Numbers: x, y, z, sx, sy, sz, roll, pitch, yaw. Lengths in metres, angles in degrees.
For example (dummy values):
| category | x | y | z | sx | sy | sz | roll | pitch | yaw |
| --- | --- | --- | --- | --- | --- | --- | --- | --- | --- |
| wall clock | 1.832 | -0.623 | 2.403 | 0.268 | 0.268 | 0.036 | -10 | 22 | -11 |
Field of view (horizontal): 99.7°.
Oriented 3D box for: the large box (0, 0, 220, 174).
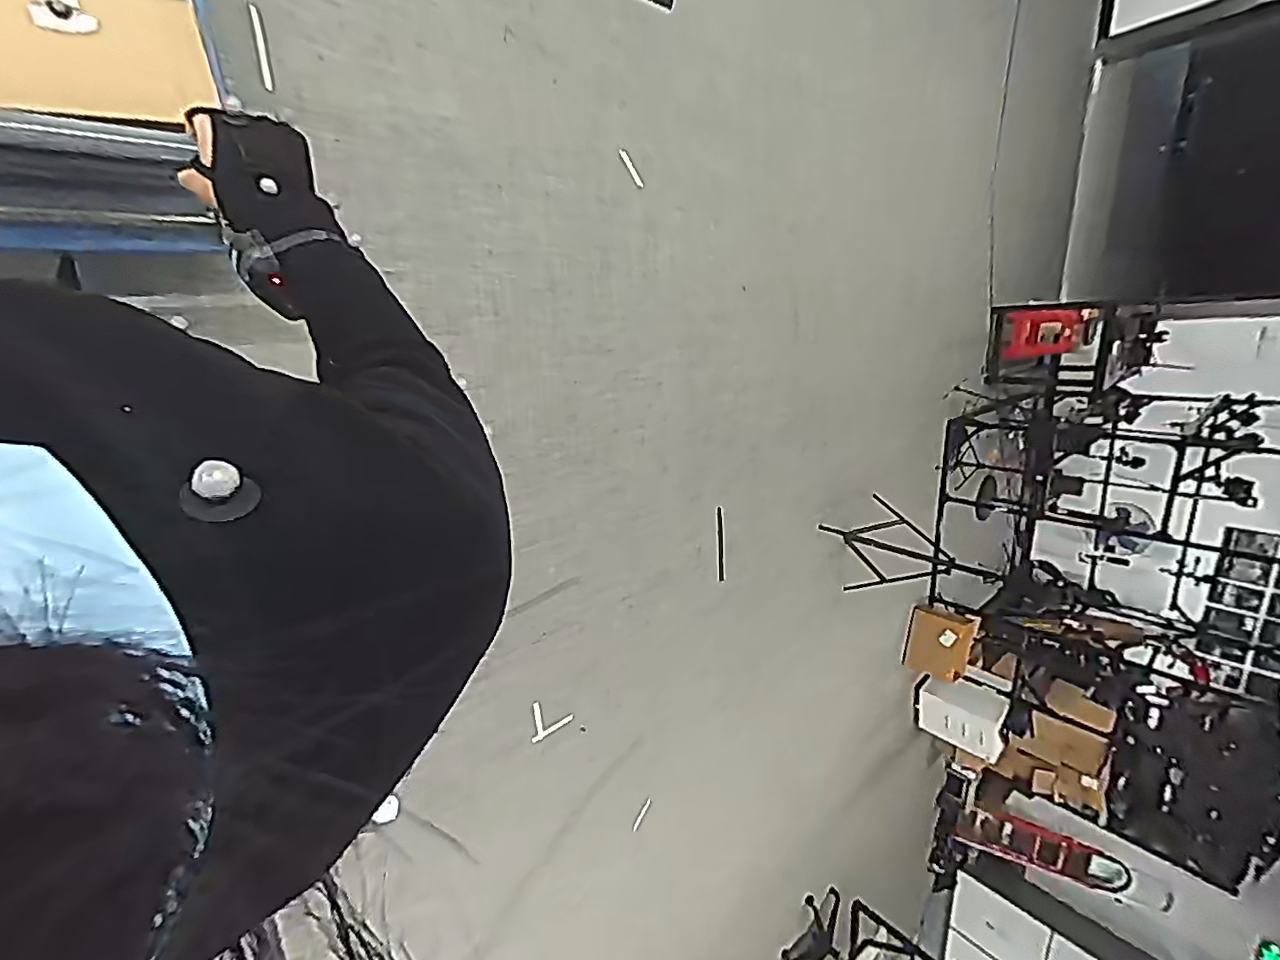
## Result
| category | x | y | z | sx | sy | sz | roll | pitch | yaw |
| --- | --- | --- | --- | --- | --- | --- | --- | --- | --- |
| large box | -0.862 | -0.615 | 0.710 | 0.408 | 0.320 | 0.320 | -22 | 115 | -38 |
